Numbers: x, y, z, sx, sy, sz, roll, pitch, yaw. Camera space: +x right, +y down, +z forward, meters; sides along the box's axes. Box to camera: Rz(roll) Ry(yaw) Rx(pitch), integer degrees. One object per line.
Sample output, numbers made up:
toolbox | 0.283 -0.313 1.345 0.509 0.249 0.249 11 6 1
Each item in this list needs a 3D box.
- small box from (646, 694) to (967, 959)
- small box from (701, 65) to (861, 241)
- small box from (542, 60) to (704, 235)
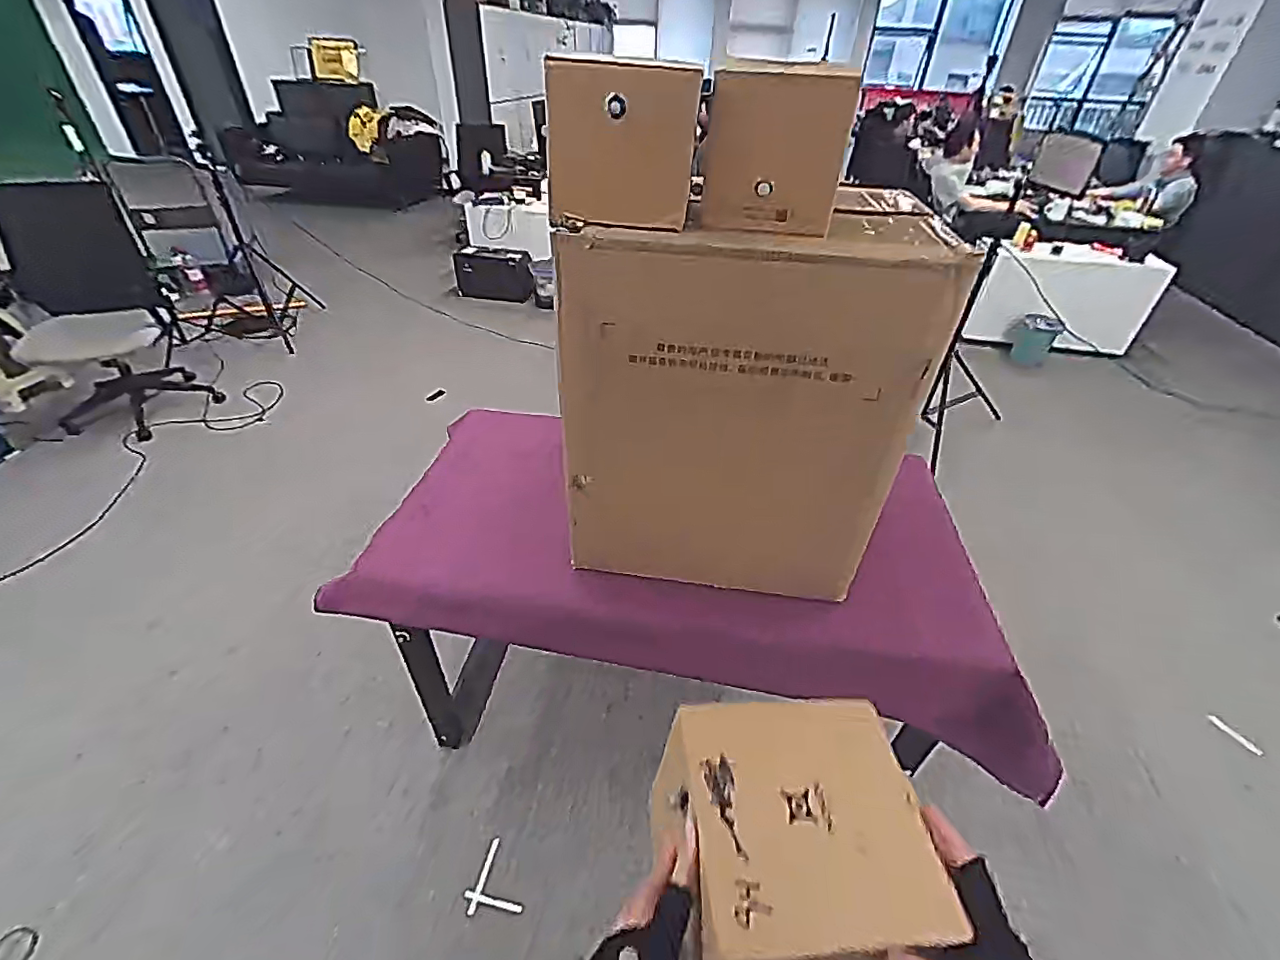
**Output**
small box | 0.109 0.298 0.443 0.179 0.176 0.168 4 36 -9
small box | 0.175 -0.431 0.709 0.168 0.176 0.179 8 41 8
small box | -0.017 -0.425 0.692 0.179 0.176 0.168 7 39 2
